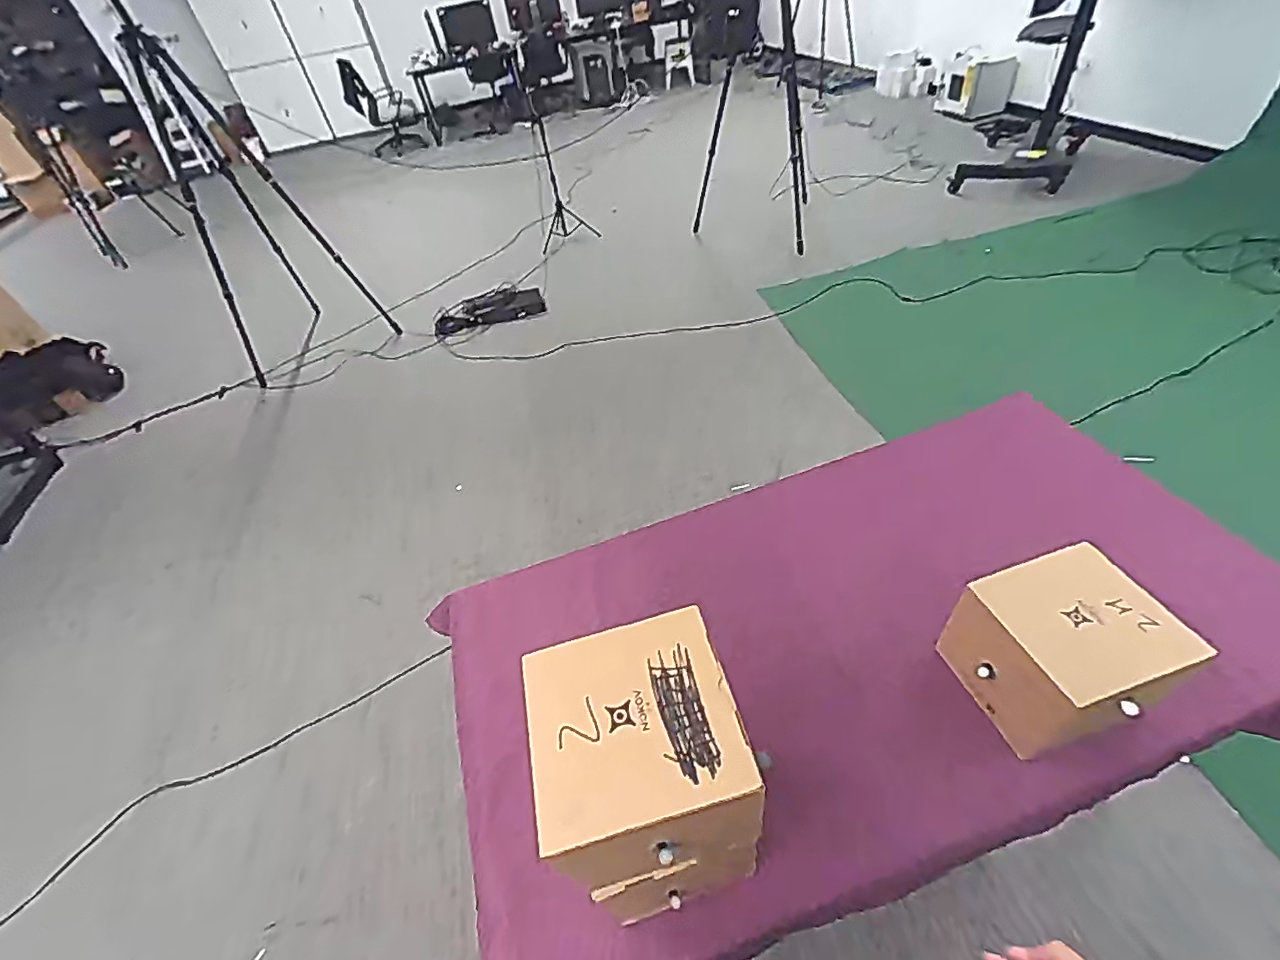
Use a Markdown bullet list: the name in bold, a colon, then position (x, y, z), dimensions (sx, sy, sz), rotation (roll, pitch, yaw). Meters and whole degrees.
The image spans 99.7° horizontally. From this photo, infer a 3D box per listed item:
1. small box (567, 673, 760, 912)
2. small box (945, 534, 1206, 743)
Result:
- **small box**: position (0.025, 0.364, 0.630), dimensions (0.168, 0.176, 0.179), rotation (-18, 46, -7)
- **small box**: position (0.519, 0.203, 0.684), dimensions (0.179, 0.176, 0.168), rotation (-18, 46, -6)
